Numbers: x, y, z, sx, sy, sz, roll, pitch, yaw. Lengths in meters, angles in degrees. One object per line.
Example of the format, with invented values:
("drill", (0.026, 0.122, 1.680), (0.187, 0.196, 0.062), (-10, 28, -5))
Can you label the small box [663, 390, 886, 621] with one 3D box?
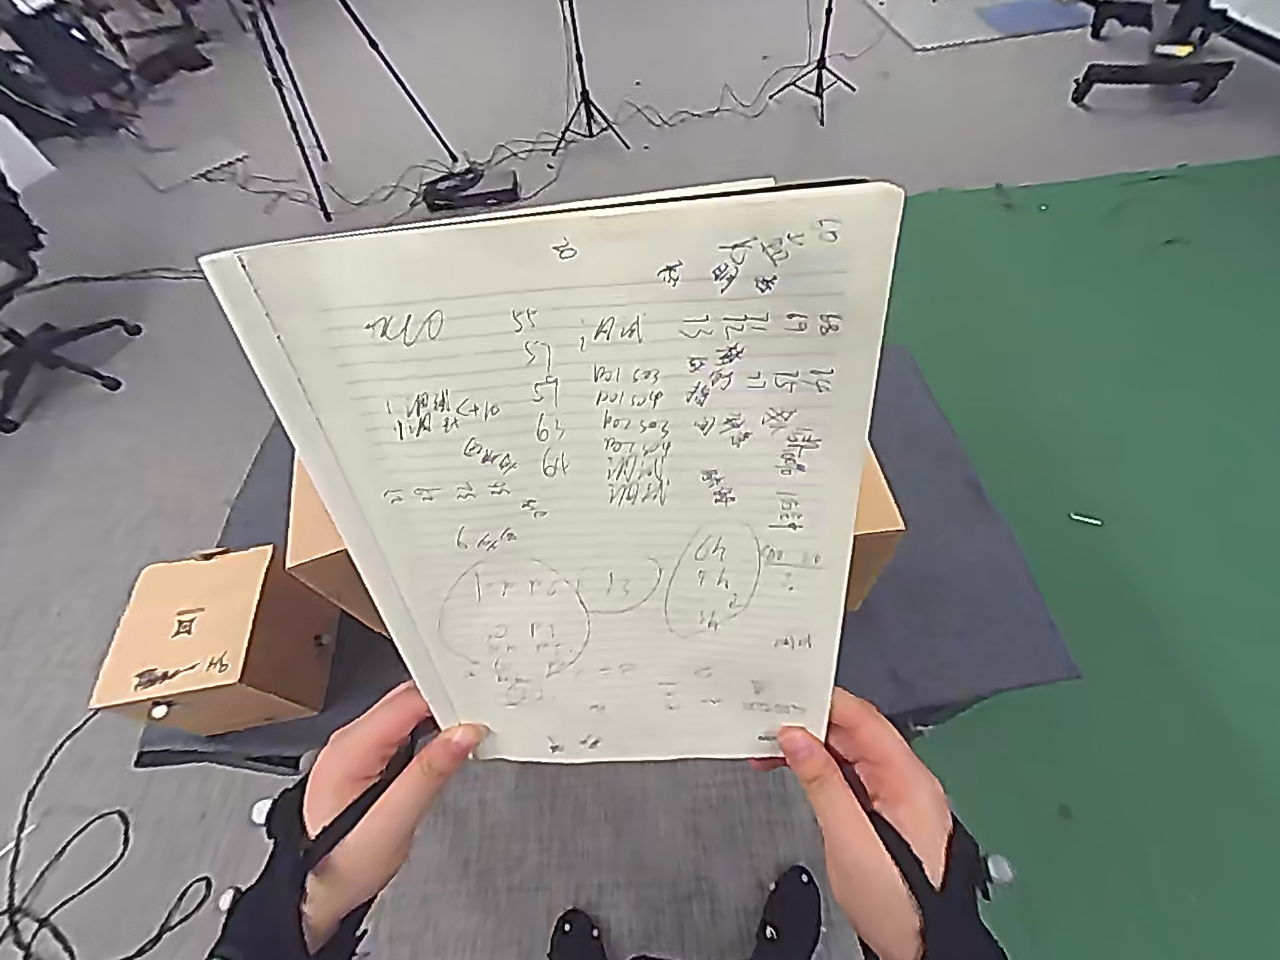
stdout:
("small box", (0.121, 0.033, 0.559), (0.179, 0.176, 0.168), (-8, 54, 2))

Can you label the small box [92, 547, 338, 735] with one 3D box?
("small box", (-0.528, 0.214, 0.707), (0.168, 0.176, 0.179), (-11, 55, 0))

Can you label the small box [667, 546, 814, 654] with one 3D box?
("small box", (0.133, 0.106, 0.705), (0.168, 0.176, 0.179), (6, 57, 12))

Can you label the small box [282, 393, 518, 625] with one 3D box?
("small box", (-0.253, 0.039, 0.599), (0.179, 0.176, 0.168), (-18, 56, -6))

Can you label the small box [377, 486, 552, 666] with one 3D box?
("small box", (-0.237, 0.130, 0.736), (0.179, 0.176, 0.168), (-20, 56, -8))
